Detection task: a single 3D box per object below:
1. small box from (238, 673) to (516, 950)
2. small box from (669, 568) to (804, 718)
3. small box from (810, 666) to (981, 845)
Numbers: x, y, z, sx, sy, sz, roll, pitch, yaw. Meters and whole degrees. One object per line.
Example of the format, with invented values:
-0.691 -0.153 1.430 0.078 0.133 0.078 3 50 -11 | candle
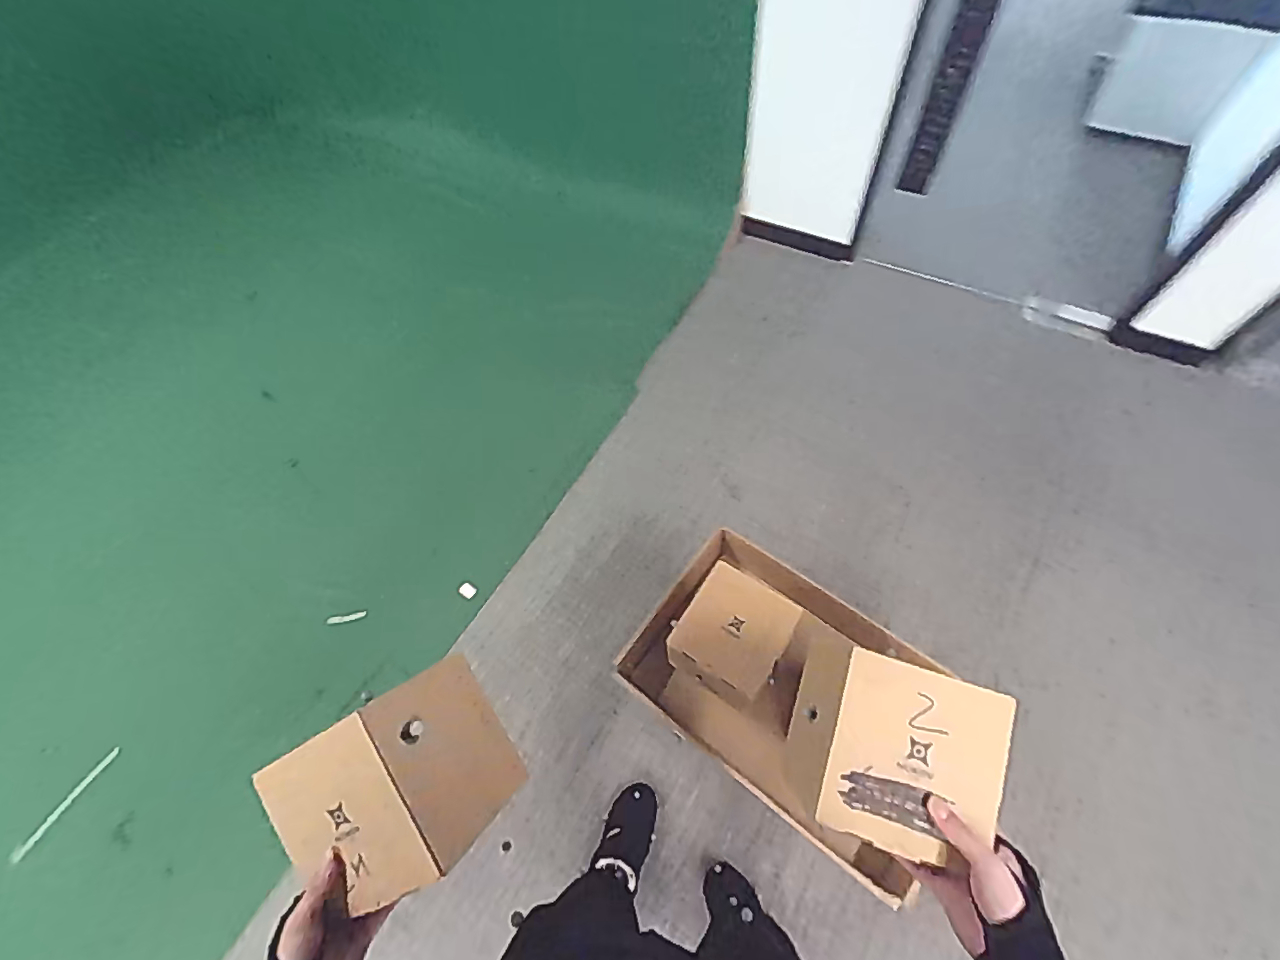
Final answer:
-0.271 0.335 0.588 0.168 0.176 0.179 -34 84 14 | small box
0.162 0.292 0.956 0.168 0.176 0.179 30 66 19 | small box
0.388 0.431 0.853 0.168 0.176 0.179 33 68 20 | small box
